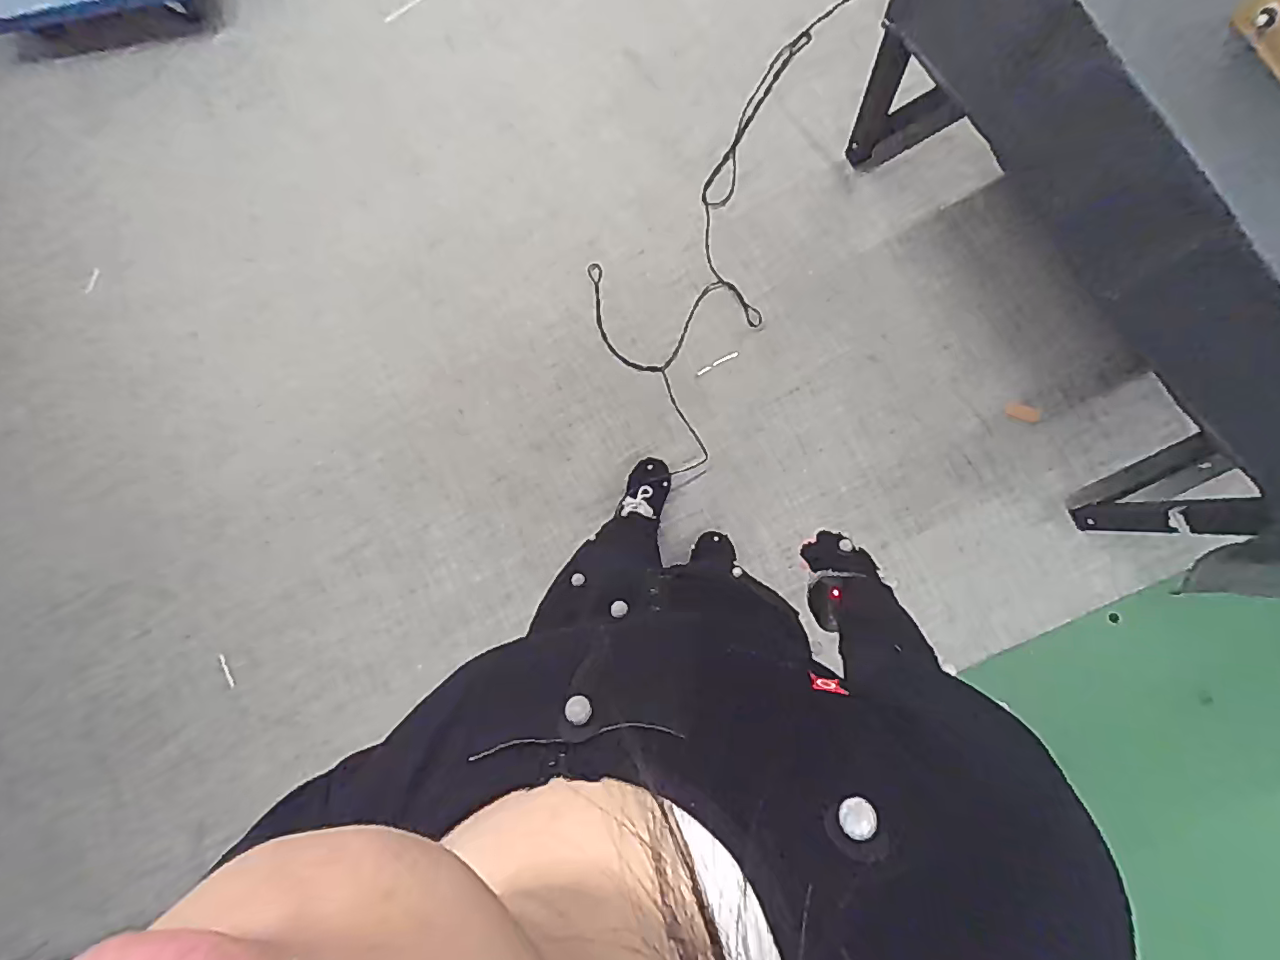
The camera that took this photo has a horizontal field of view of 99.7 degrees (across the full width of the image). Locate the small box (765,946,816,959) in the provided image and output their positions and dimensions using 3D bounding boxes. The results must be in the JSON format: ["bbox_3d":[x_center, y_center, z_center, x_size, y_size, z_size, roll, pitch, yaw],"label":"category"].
[{"bbox_3d":[0.381,1.282,1.286,0.168,0.176,0.179,-28,82,7],"label":"small box"}]
